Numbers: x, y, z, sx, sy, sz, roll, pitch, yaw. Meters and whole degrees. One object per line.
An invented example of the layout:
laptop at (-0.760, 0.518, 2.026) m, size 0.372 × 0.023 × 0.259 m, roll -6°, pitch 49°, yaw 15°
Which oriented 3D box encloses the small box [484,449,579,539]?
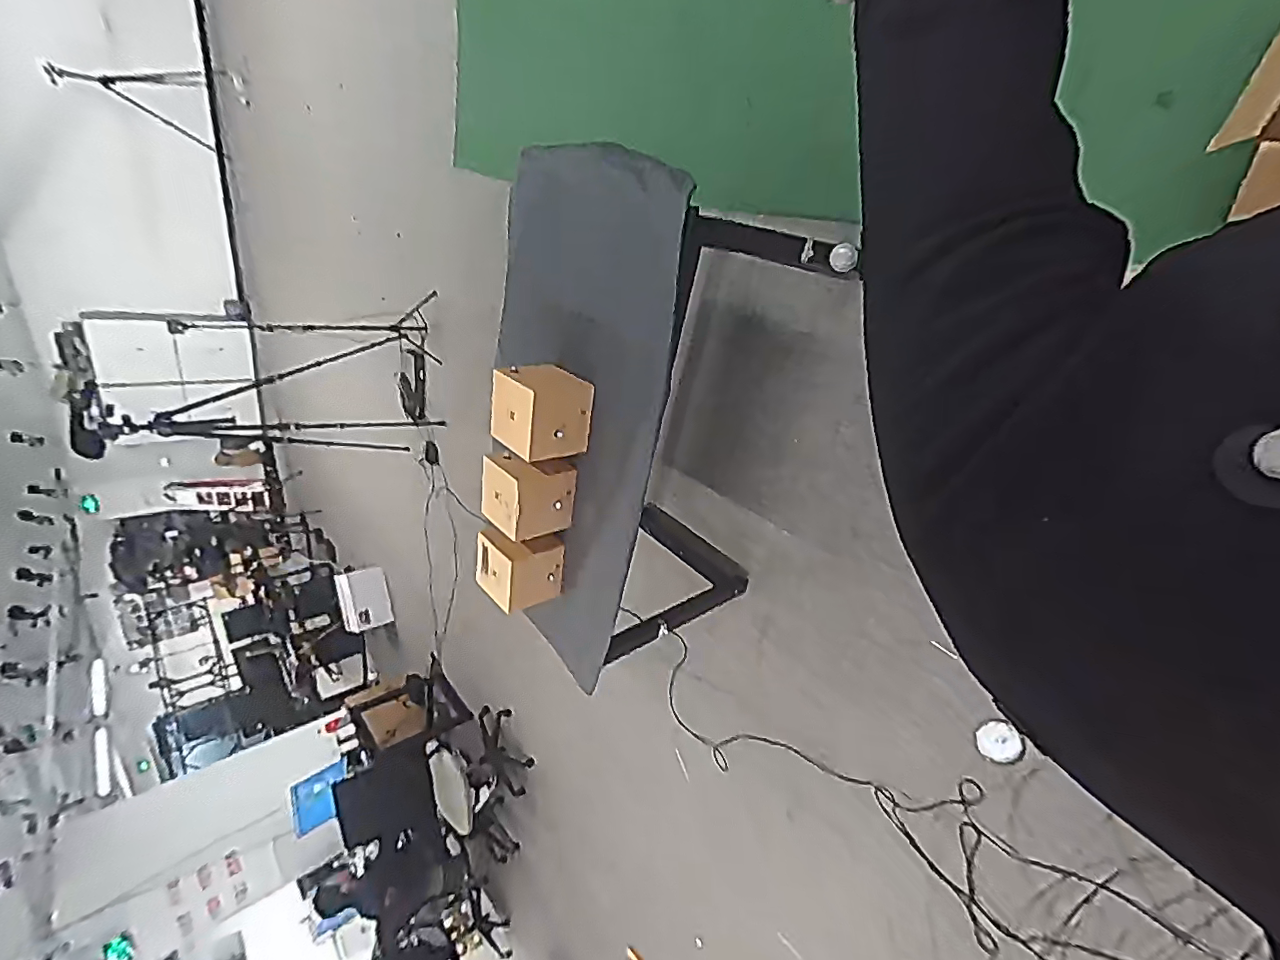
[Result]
small box at (-0.278, 0.025, 1.374) m, size 0.179 × 0.176 × 0.168 m, roll 31°, pitch 122°, yaw 40°

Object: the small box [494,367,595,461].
small box at (-0.224, -0.164, 1.264) m, size 0.179 × 0.176 × 0.168 m, roll 32°, pitch 123°, yaw 40°
